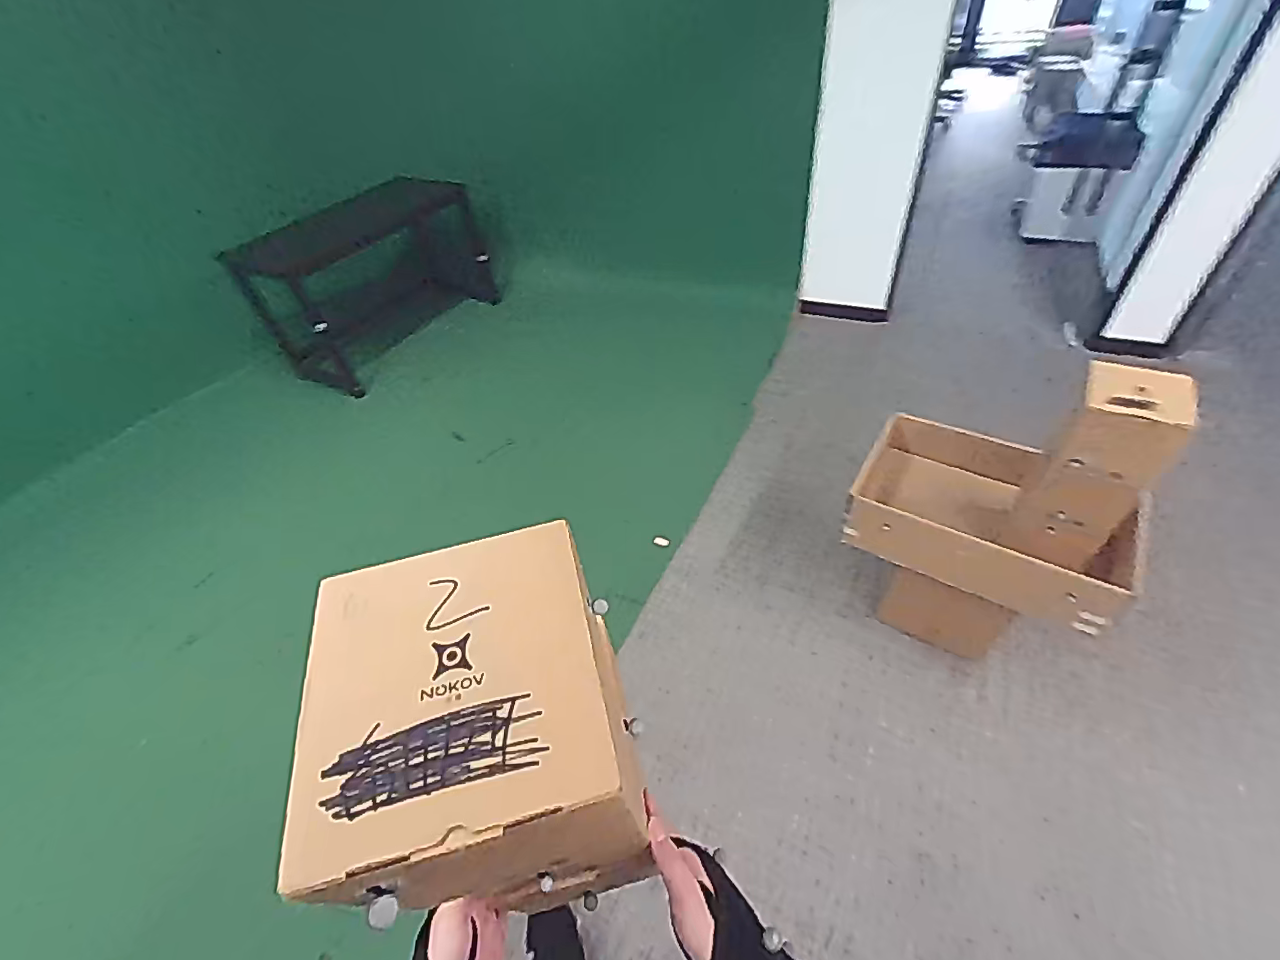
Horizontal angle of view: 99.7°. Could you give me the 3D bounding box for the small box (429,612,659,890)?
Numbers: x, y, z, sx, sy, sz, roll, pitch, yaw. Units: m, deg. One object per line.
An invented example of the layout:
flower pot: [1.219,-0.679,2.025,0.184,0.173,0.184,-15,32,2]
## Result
small box: [-0.080,0.251,0.500,0.168,0.176,0.179,-11,50,-5]

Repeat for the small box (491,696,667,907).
small box: [-0.068,0.360,0.619,0.168,0.176,0.179,-12,50,-5]

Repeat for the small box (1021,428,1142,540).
small box: [1.000,0.002,1.231,0.168,0.176,0.179,20,52,26]

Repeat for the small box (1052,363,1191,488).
small box: [0.980,-0.110,1.112,0.168,0.176,0.179,20,51,26]

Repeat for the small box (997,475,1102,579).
small box: [1.020,0.112,1.348,0.168,0.176,0.179,20,51,26]
